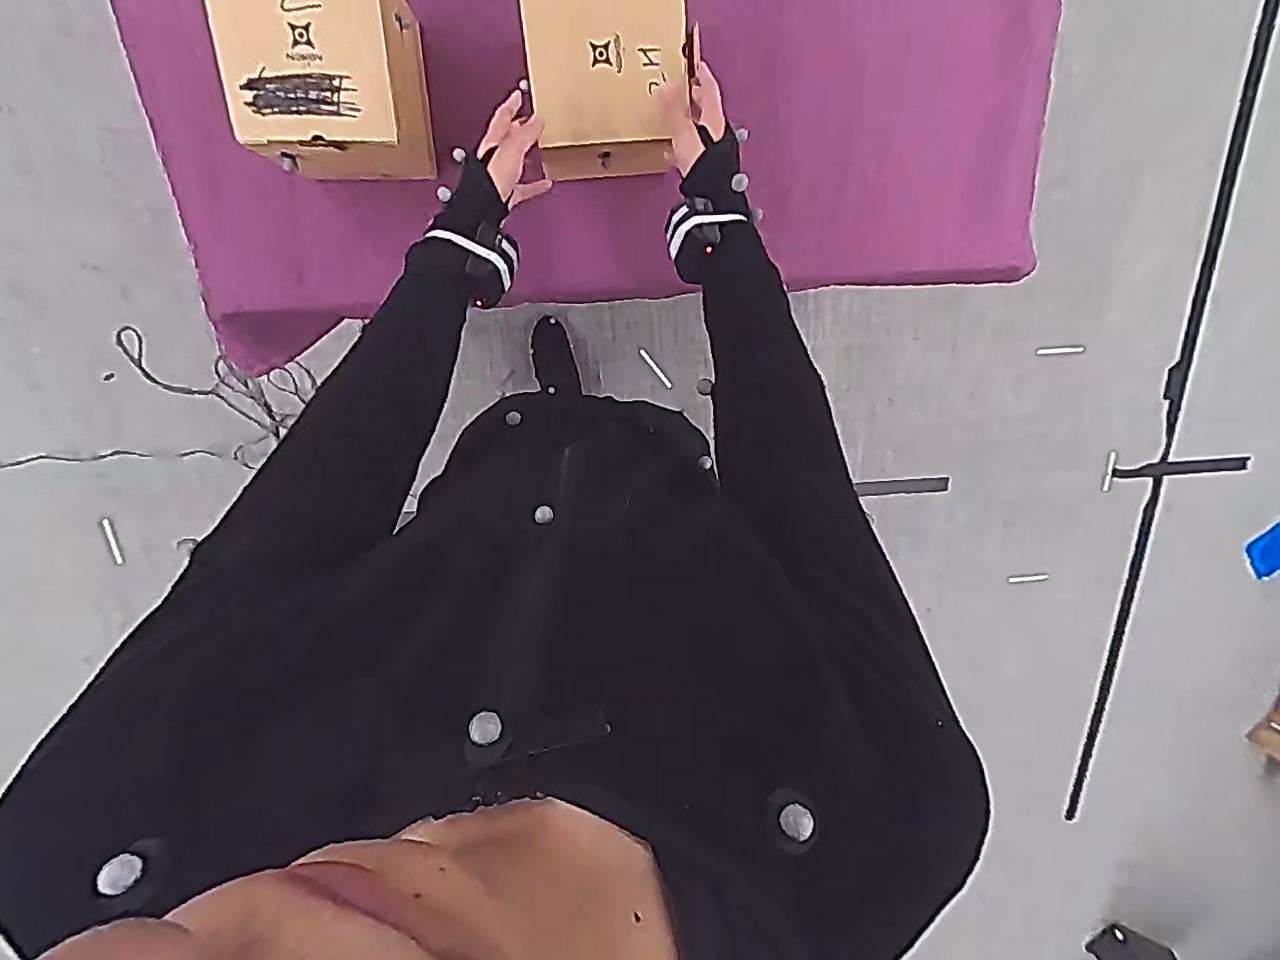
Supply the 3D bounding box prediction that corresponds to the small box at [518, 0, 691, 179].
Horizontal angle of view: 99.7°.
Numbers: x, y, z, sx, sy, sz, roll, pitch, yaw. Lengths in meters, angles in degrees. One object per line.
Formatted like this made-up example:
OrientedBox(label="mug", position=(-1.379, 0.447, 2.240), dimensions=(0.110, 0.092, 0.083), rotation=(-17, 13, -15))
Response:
OrientedBox(label="small box", position=(-0.042, -0.477, 0.654), dimensions=(0.179, 0.176, 0.168), rotation=(-7, 108, -5))
